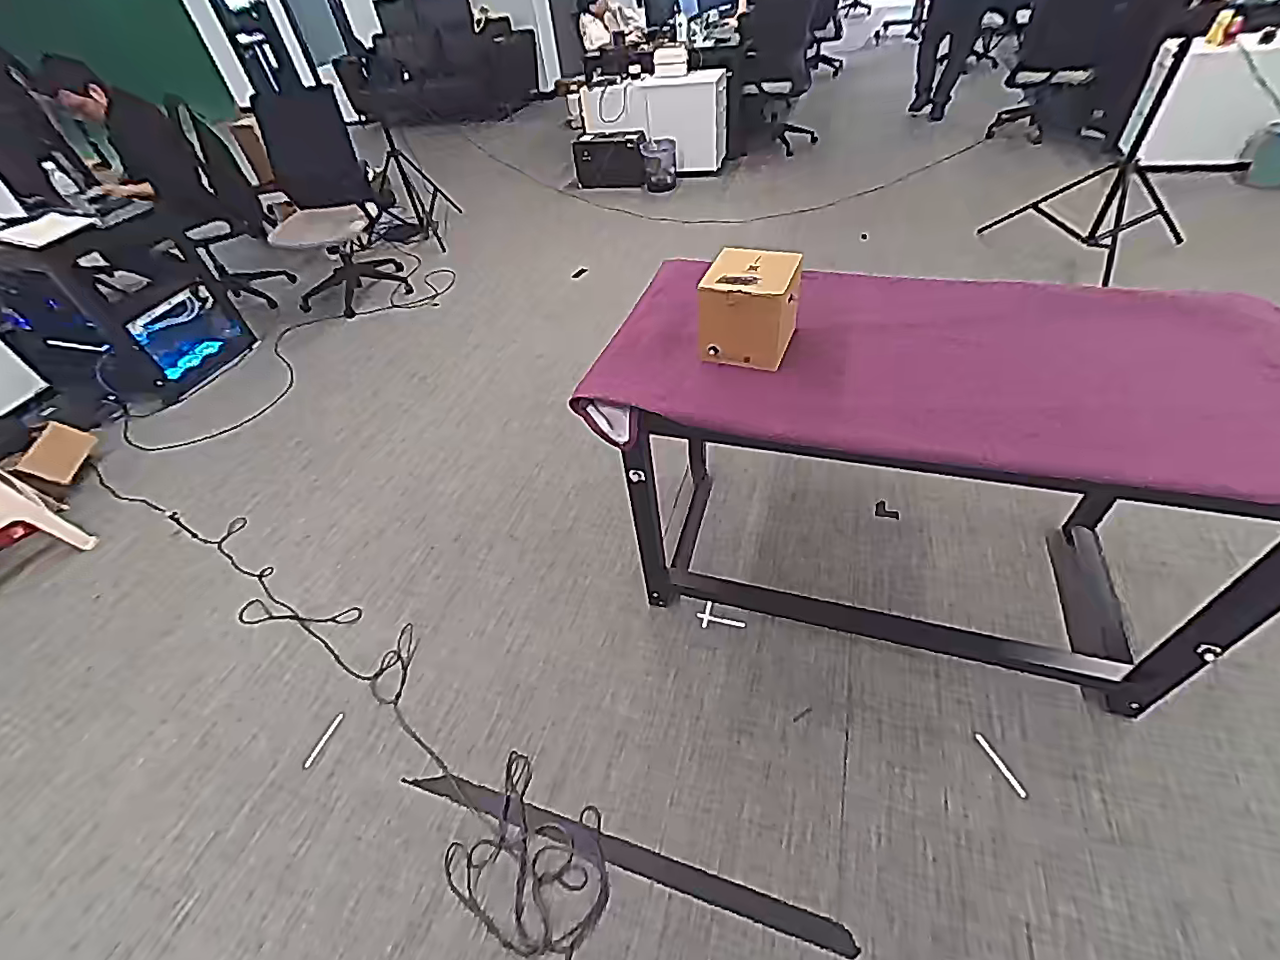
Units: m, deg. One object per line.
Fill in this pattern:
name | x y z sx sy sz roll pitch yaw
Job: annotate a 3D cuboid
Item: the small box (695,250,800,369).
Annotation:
small box | 0.222 -0.350 1.113 0.168 0.176 0.179 14 49 20
